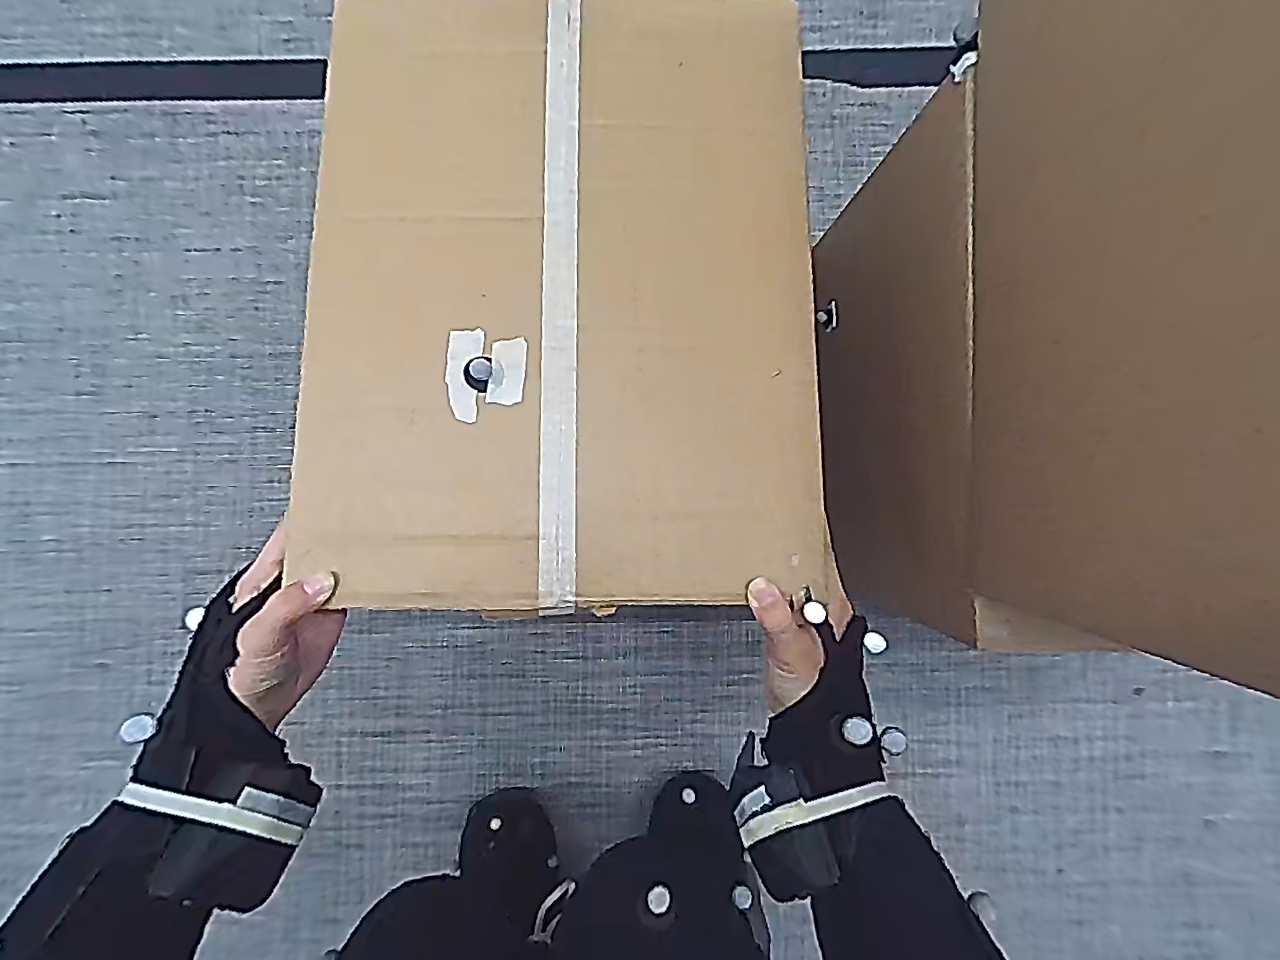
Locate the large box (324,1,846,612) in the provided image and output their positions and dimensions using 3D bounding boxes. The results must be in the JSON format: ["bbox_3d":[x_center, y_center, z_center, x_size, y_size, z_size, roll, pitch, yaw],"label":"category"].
[{"bbox_3d":[-0.041,-0.106,0.488,0.320,0.320,0.408,-1,82,-1],"label":"large box"}]
